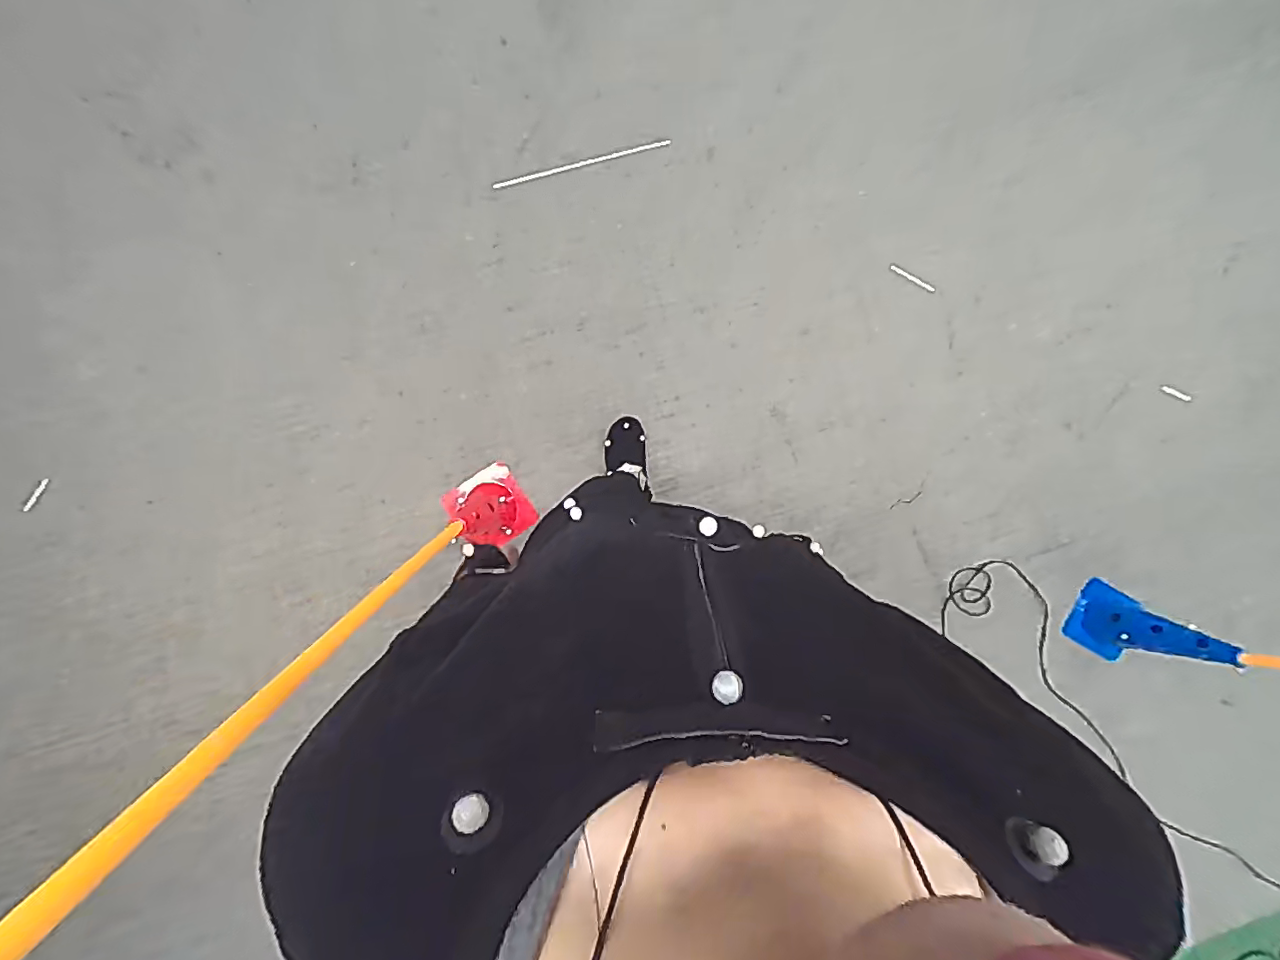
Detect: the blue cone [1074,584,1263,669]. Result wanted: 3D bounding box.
[{"bbox_3d":[1.394,0.416,1.428,0.192,0.380,0.193,28,87,-4],"label":"blue cone"}]
